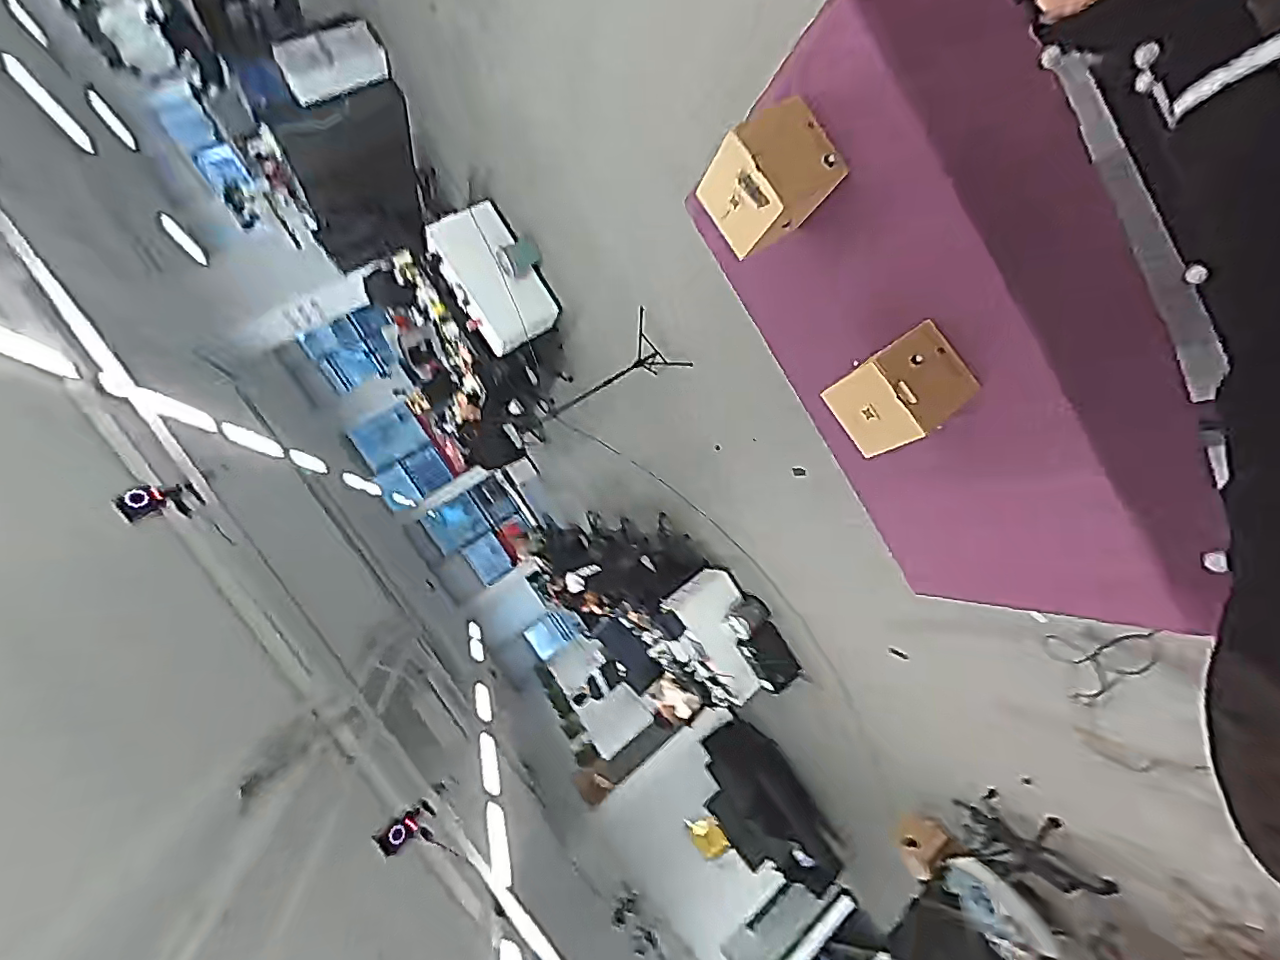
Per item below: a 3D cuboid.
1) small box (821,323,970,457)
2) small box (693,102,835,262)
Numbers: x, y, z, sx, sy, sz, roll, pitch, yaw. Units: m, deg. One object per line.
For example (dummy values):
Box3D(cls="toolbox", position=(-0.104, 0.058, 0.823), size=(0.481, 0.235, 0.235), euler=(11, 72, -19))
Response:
Box3D(cls="small box", position=(0.499, -0.173, 1.052), size=(0.168, 0.176, 0.179), euler=(54, 163, 2))
Box3D(cls="small box", position=(0.236, -0.557, 1.017), size=(0.168, 0.176, 0.179), euler=(55, 164, -2))
